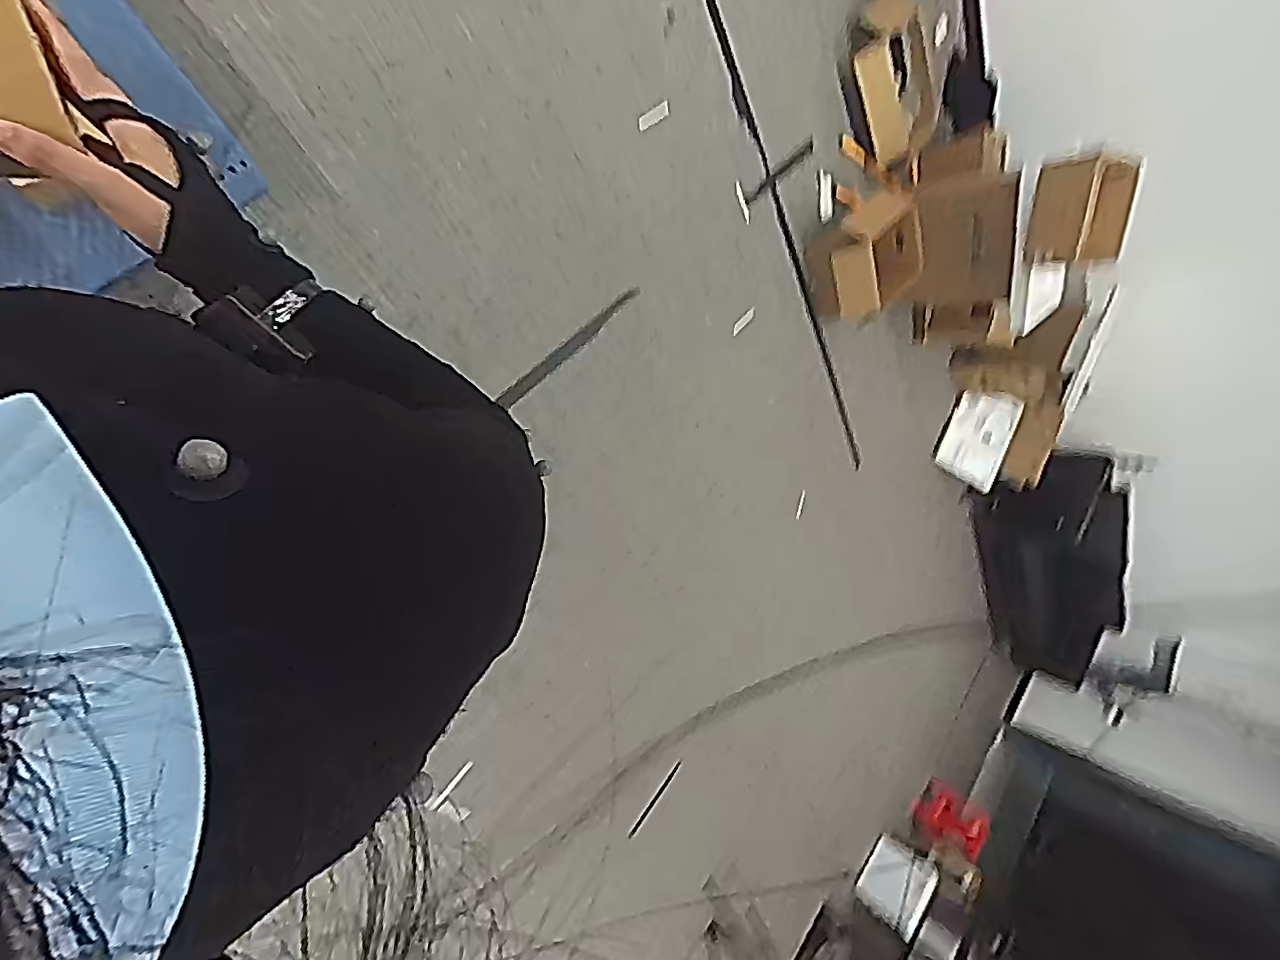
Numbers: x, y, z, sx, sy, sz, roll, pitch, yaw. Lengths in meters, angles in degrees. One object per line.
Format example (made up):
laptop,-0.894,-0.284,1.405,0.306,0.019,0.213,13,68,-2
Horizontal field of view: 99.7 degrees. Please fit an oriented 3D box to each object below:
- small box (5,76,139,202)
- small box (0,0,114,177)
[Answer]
small box,-0.881,-0.535,0.779,0.168,0.176,0.179,-45,125,-23
small box,-0.442,-0.282,0.306,0.168,0.176,0.179,-20,122,-37
